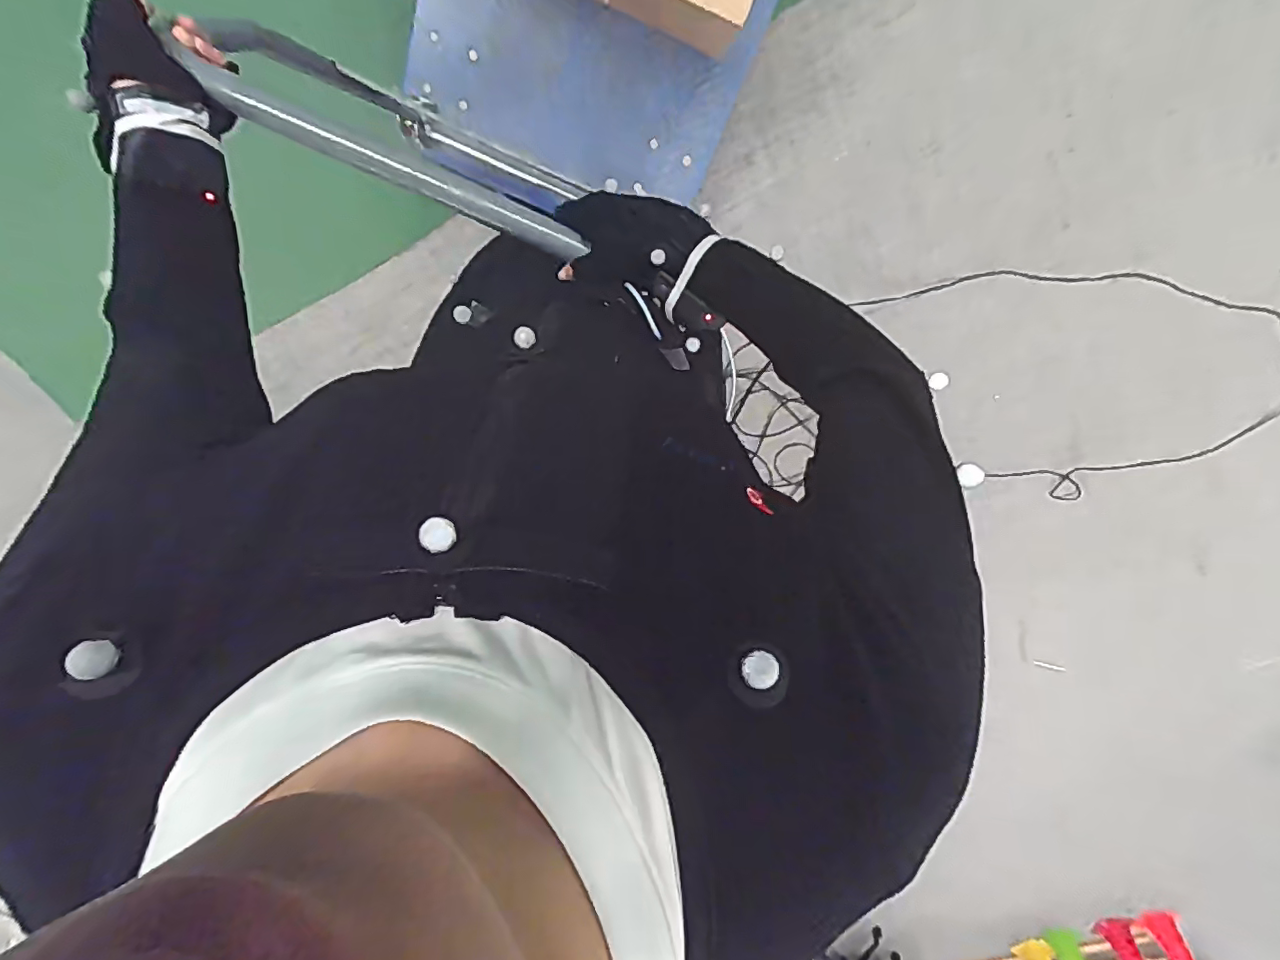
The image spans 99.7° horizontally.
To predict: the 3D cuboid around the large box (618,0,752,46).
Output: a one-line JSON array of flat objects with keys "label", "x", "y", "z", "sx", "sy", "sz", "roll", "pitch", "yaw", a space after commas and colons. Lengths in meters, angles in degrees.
[{"label": "large box", "x": 0.010, "y": -0.869, "z": 0.736, "sx": 0.408, "sy": 0.320, "sz": 0.320, "roll": 19, "pitch": 120, "yaw": -9}]
